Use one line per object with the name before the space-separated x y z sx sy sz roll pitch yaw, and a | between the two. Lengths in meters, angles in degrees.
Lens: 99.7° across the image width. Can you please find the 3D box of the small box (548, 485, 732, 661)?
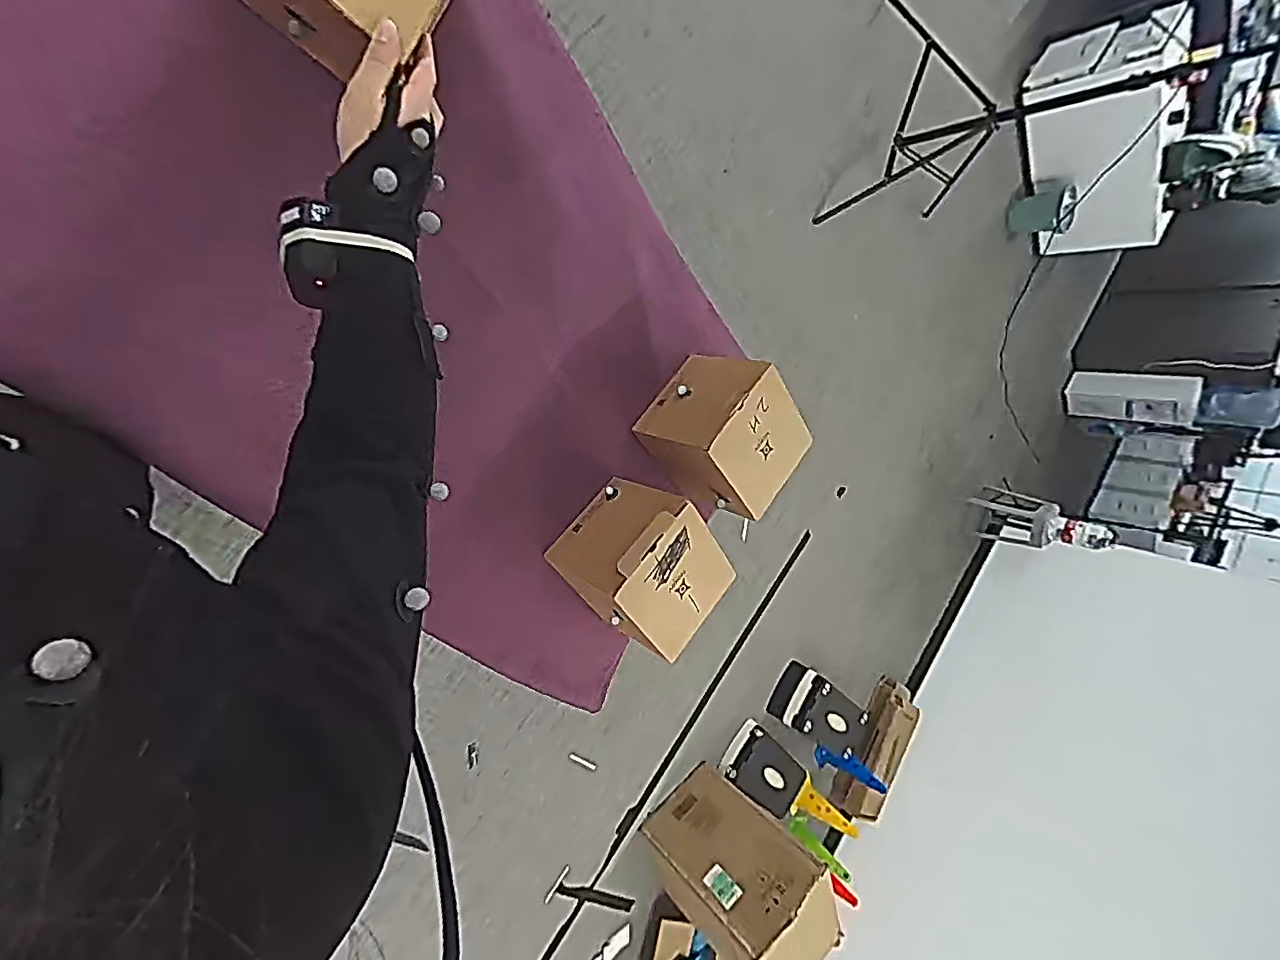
small box | -0.002 0.124 0.792 0.168 0.176 0.179 -49 128 -20

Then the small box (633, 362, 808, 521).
small box | 0.125 -0.068 0.842 0.168 0.176 0.179 -52 129 -15
